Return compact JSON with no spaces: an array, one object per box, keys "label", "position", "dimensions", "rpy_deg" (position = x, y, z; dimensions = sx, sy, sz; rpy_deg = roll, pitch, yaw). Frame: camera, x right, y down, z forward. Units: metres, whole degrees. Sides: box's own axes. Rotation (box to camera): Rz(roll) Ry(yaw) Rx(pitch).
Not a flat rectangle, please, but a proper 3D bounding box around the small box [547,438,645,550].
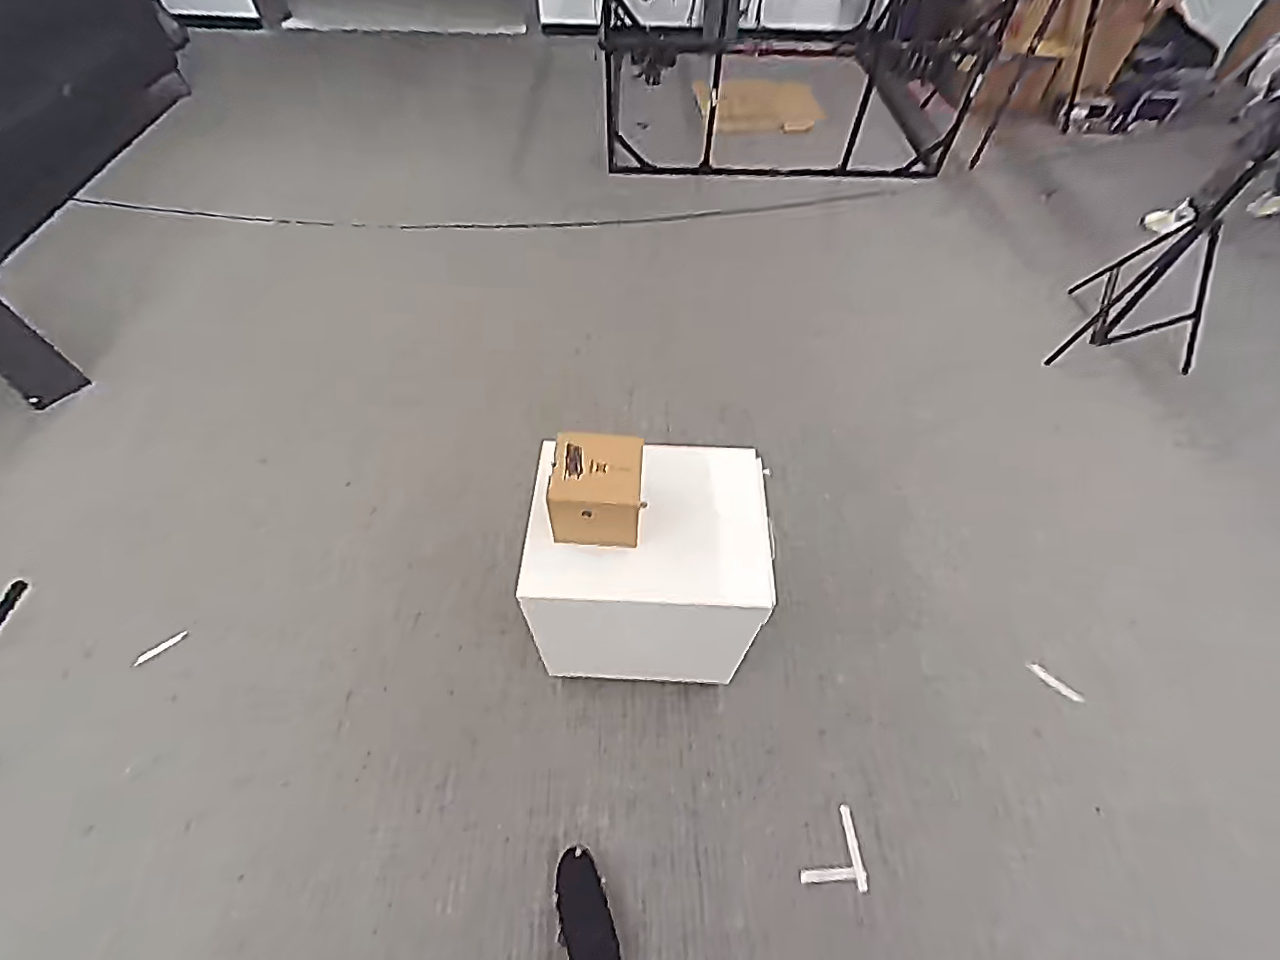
[{"label":"small box","position":[-0.085,0.032,1.114],"dimensions":[0.179,0.176,0.168],"rpy_deg":[4,55,0]}]
